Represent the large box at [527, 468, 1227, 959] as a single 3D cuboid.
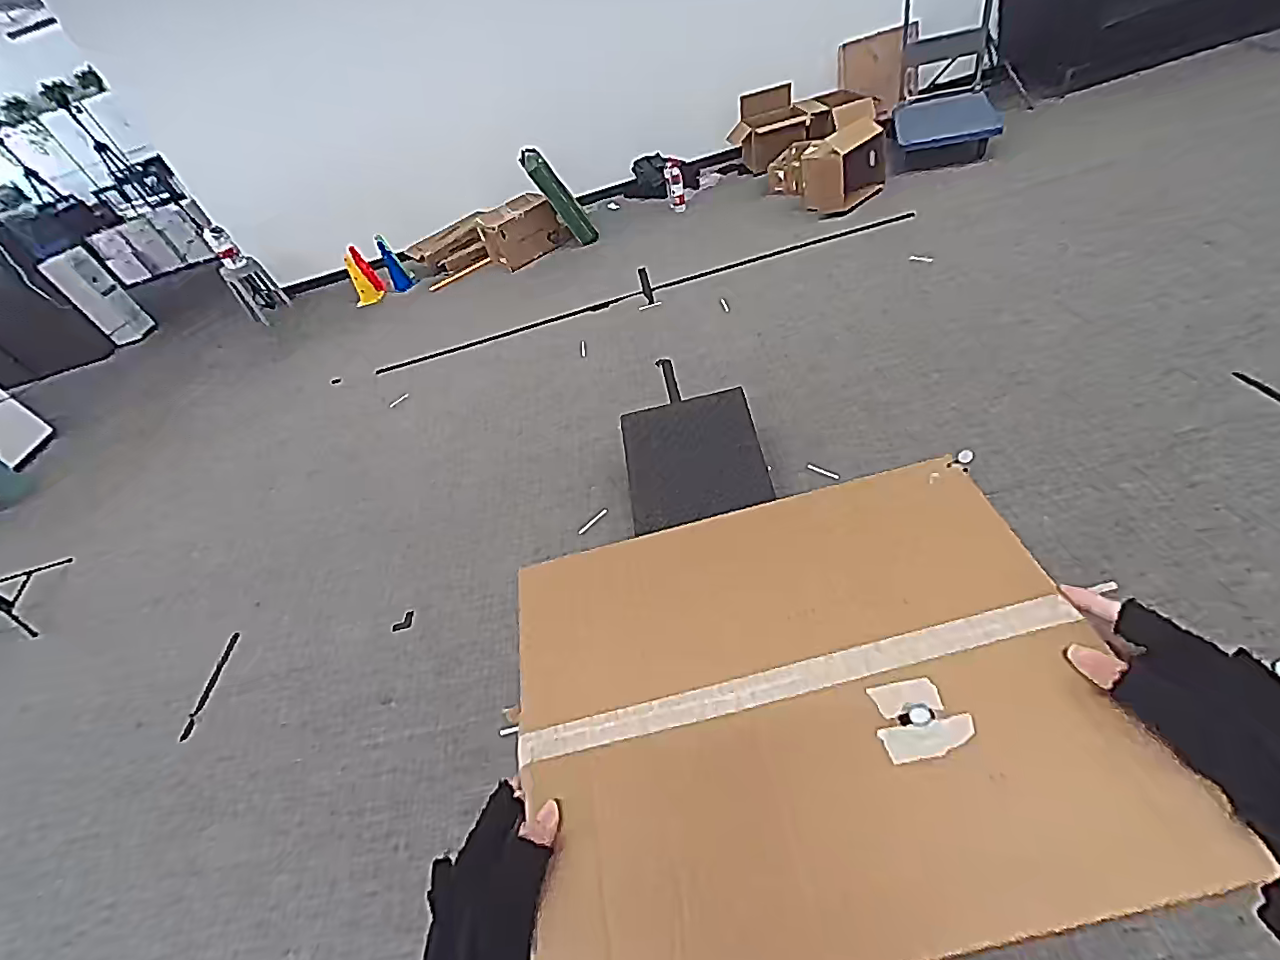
[{"bbox_3d":[0.140,0.246,0.514,0.408,0.320,0.320,-15,49,1],"label":"large box"}]
